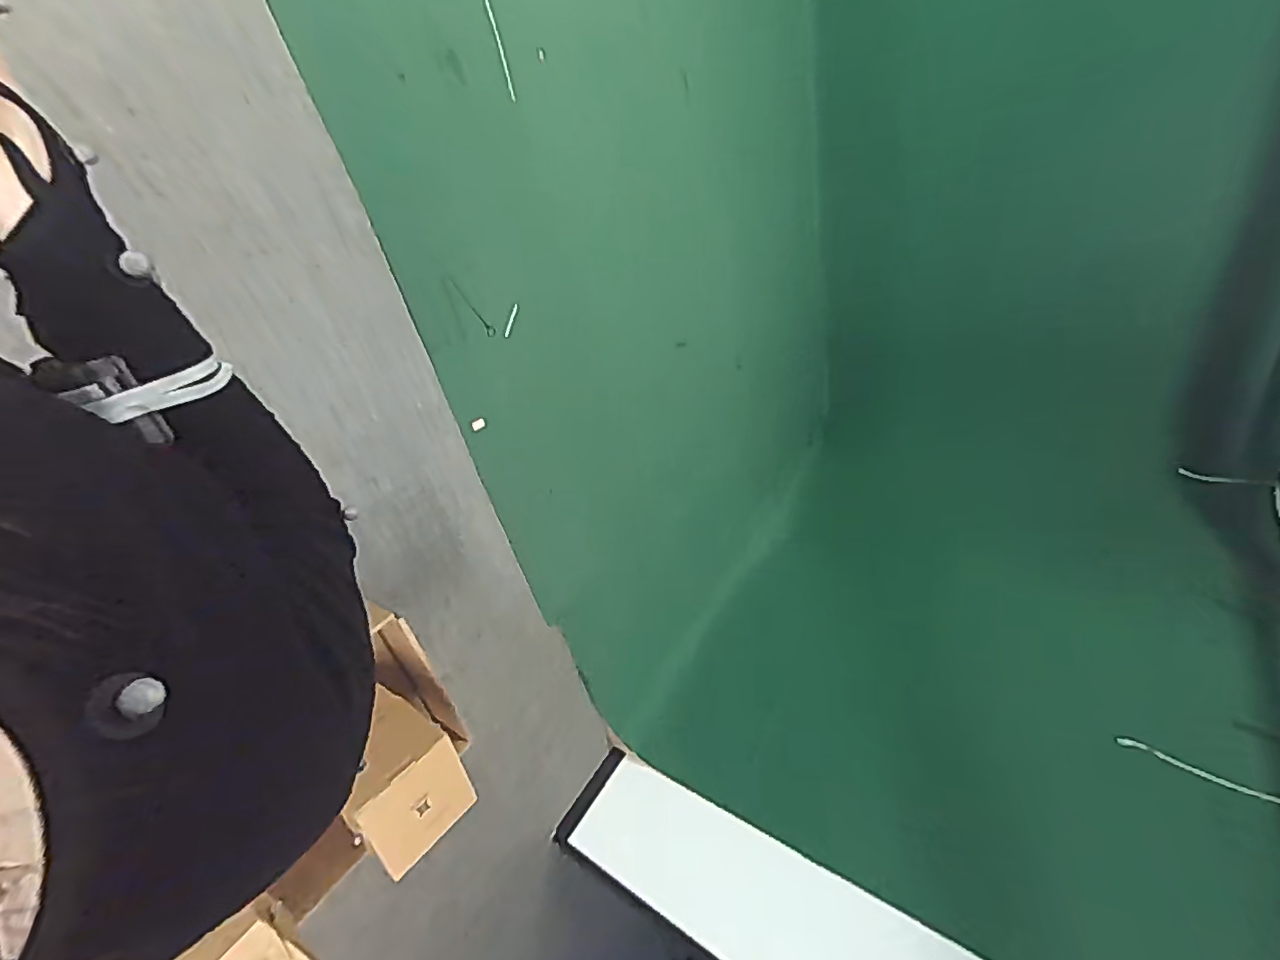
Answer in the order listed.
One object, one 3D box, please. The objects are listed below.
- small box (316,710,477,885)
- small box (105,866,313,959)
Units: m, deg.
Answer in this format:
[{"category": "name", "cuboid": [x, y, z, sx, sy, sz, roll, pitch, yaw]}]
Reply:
[{"category": "small box", "cuboid": [-0.418, 0.528, 0.930, 0.168, 0.176, 0.179, -35, 125, -41]}, {"category": "small box", "cuboid": [-0.589, 0.681, 0.743, 0.168, 0.176, 0.179, -40, 128, -39]}]
